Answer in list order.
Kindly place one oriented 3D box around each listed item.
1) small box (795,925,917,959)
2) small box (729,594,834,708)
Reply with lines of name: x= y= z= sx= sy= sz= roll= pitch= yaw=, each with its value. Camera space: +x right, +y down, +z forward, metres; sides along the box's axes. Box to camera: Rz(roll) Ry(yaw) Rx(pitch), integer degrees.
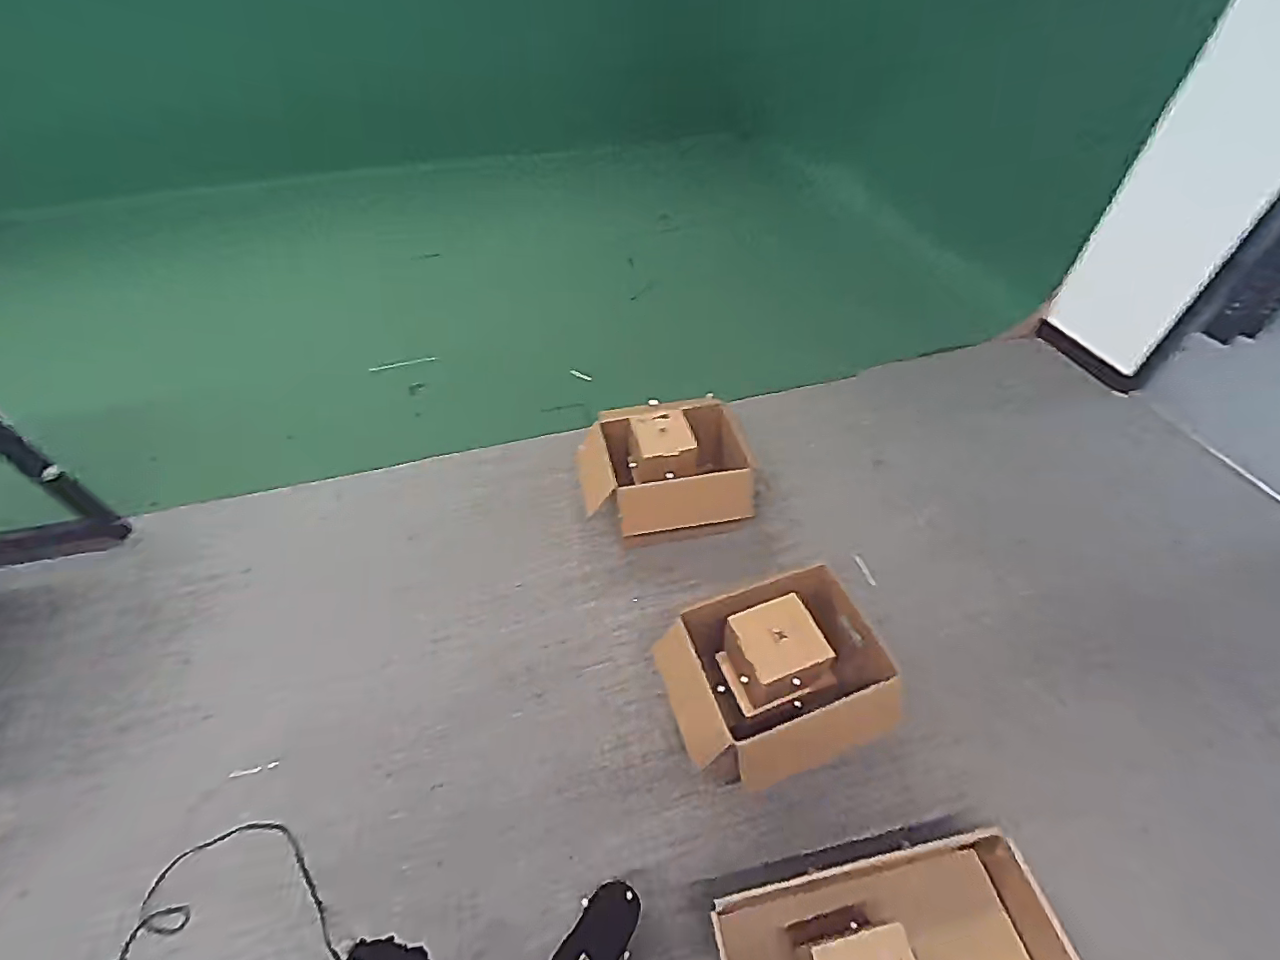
small box: x=0.399 y=0.914 z=0.958 sx=0.179 sy=0.176 sz=0.168 roll=-10 pitch=49 yaw=-8
small box: x=0.313 y=0.397 z=1.243 sx=0.179 sy=0.176 sz=0.168 roll=-17 pitch=51 yaw=-11
